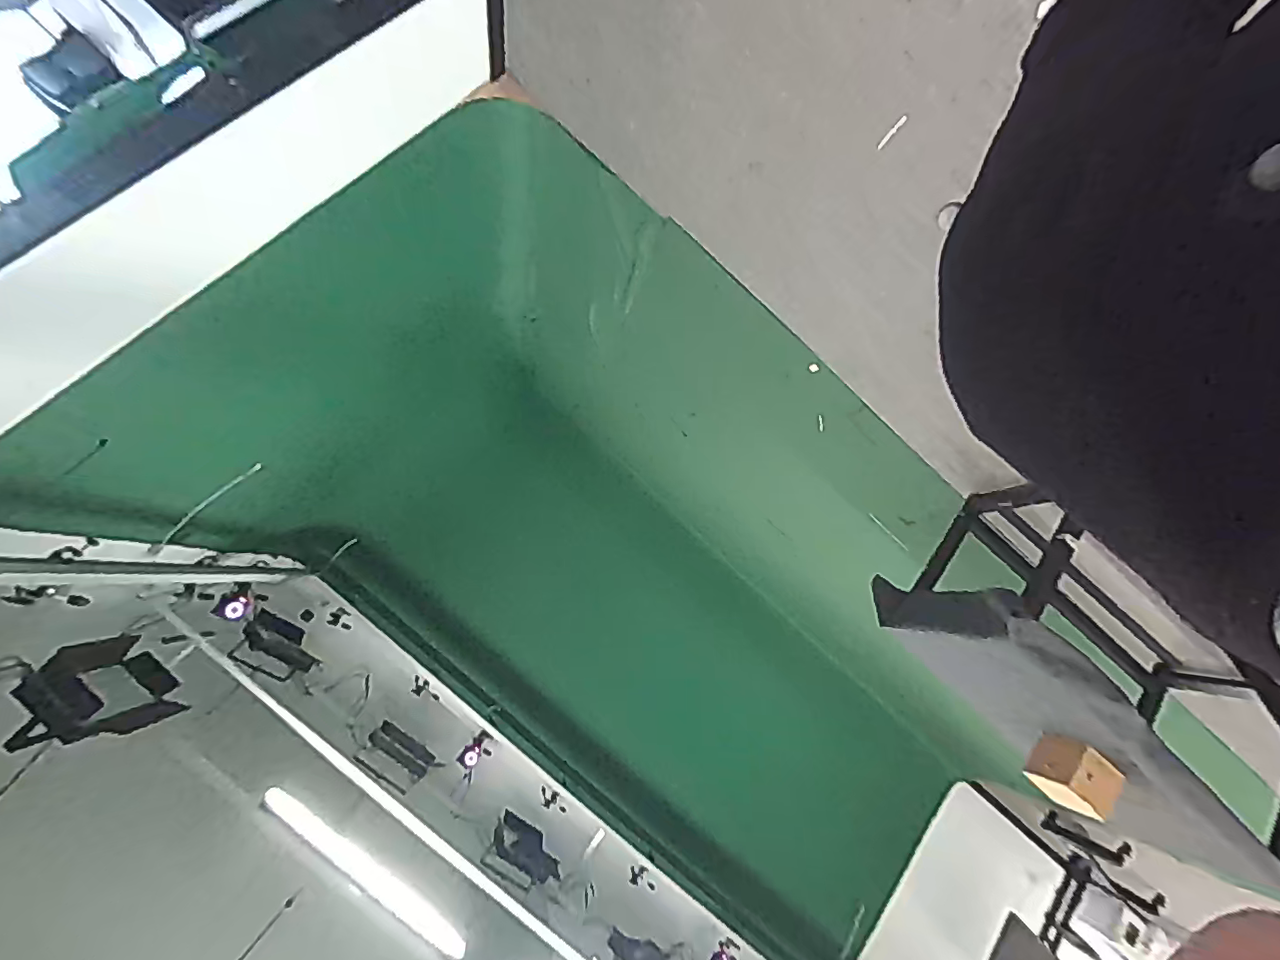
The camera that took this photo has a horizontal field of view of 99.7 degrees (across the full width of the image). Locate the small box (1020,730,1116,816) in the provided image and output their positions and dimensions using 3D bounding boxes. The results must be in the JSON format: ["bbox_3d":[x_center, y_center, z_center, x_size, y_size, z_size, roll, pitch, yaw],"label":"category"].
[{"bbox_3d":[1.447,0.976,1.821,0.168,0.176,0.179,43,164,-2],"label":"small box"}]
